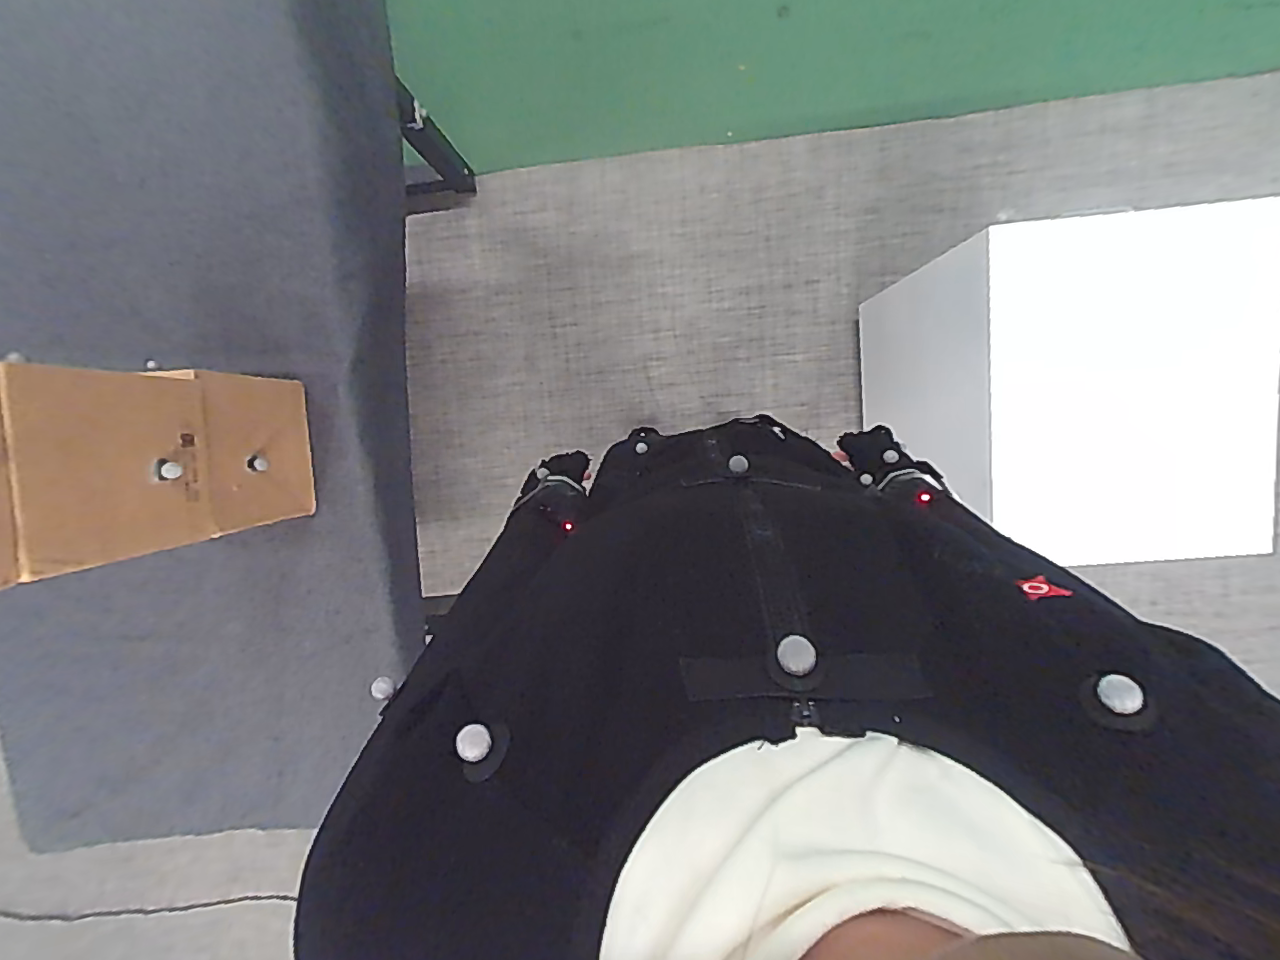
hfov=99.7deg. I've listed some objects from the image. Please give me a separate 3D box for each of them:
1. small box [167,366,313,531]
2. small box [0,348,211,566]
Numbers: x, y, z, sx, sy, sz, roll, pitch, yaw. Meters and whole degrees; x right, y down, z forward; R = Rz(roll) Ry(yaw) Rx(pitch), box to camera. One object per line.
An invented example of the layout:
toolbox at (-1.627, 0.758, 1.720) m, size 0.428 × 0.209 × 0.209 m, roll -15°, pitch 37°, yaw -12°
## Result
small box at (-0.527, -0.041, 0.651) m, size 0.168 × 0.176 × 0.179 m, roll -2°, pitch 97°, yaw 4°
small box at (-0.544, -0.022, 0.488) m, size 0.179 × 0.176 × 0.168 m, roll -2°, pitch 96°, yaw 6°
